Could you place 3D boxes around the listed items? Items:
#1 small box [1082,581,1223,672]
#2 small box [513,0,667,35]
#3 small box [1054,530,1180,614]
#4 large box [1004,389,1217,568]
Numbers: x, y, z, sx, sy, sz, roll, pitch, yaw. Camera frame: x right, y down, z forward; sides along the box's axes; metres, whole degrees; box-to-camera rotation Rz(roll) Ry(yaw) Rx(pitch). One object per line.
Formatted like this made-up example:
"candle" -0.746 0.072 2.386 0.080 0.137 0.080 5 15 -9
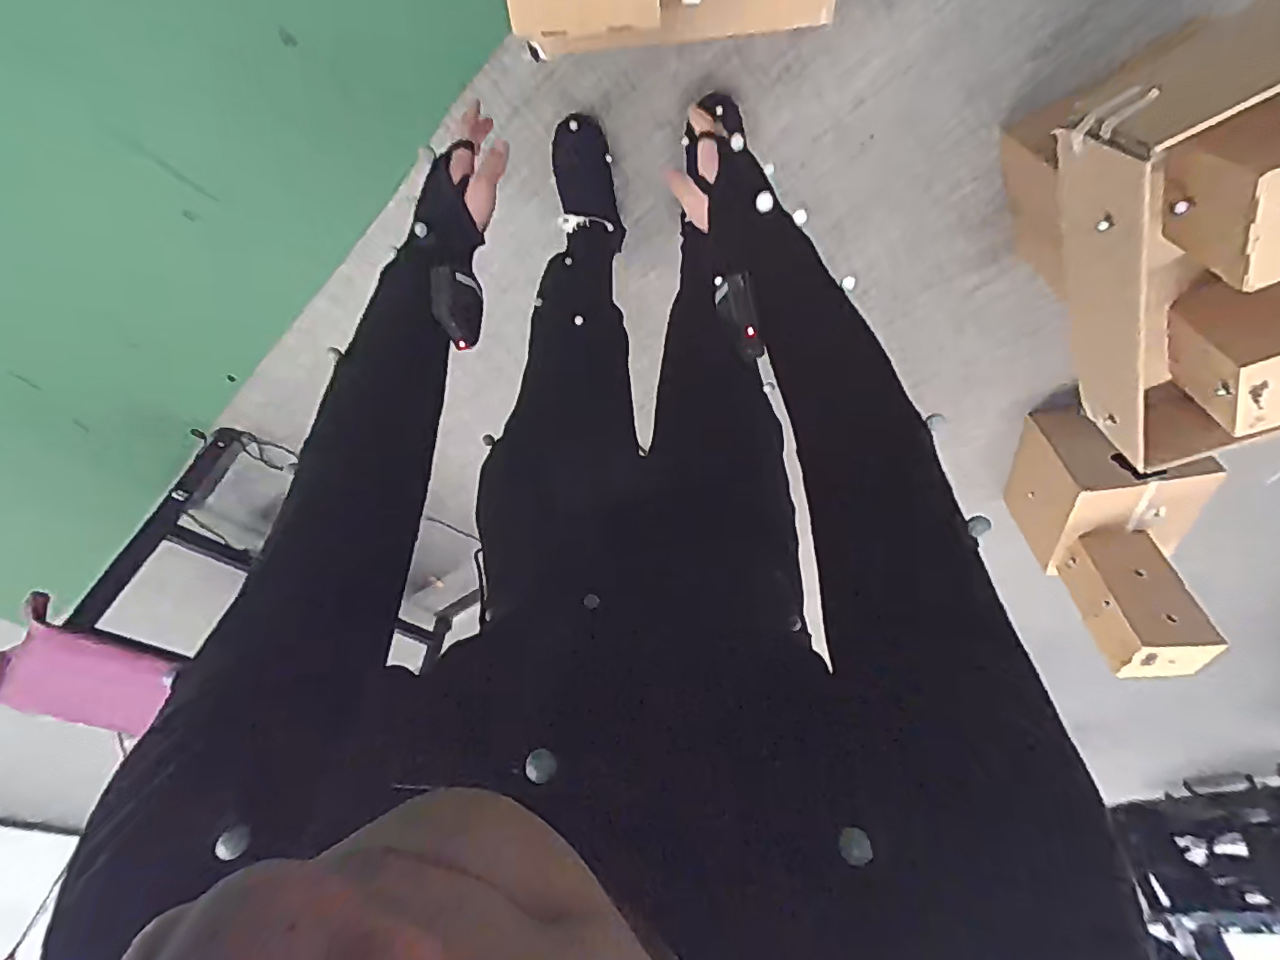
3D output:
"small box" 1.283 0.371 1.374 0.179 0.176 0.168 -5 137 9
"small box" -0.057 -0.608 0.579 0.168 0.176 0.179 -2 139 3
"small box" 1.297 0.251 1.485 0.179 0.176 0.168 -5 137 10
"large box" 1.317 0.006 1.578 0.320 0.320 0.408 -11 135 13
